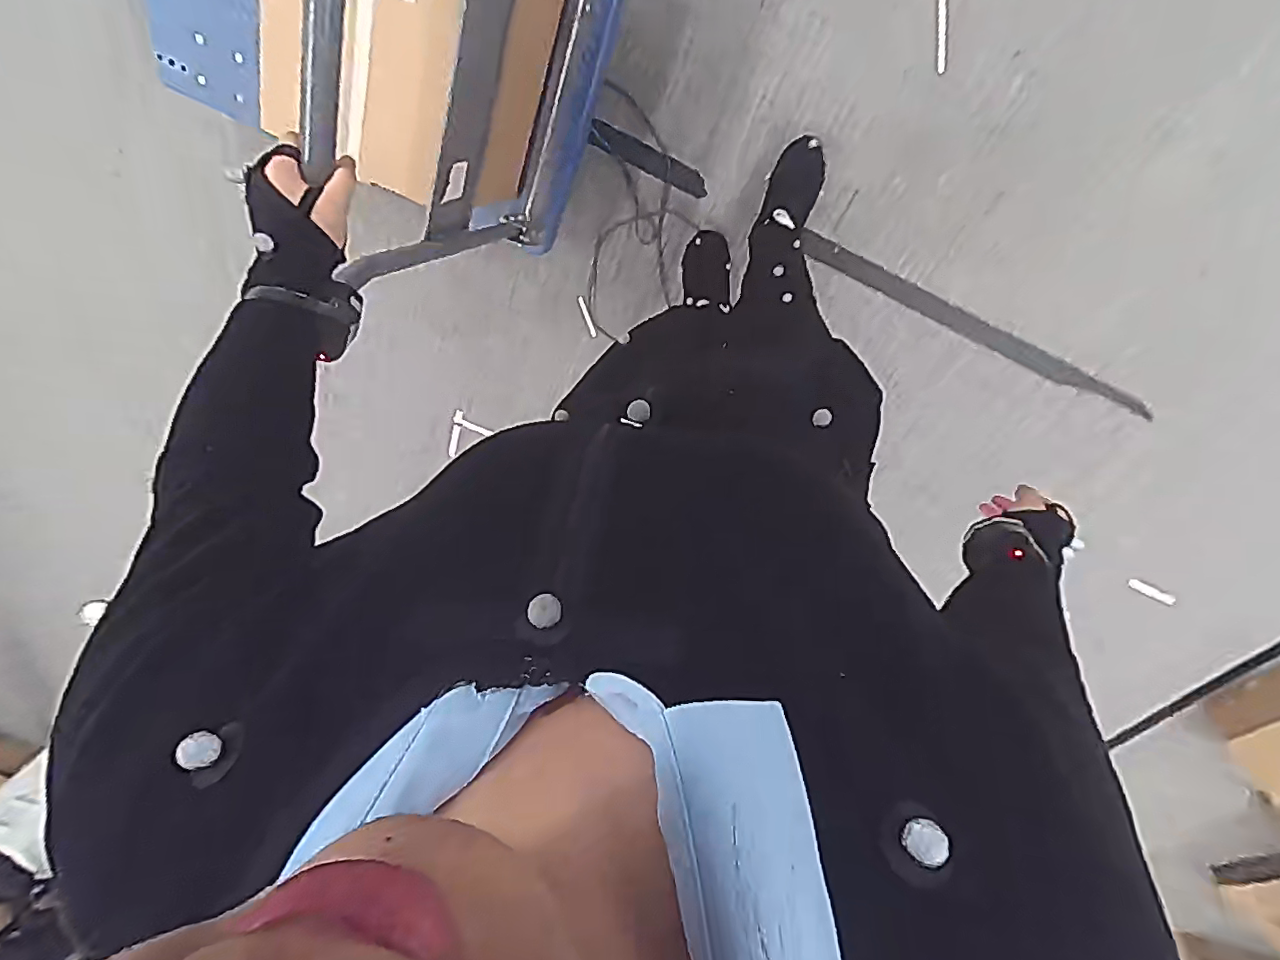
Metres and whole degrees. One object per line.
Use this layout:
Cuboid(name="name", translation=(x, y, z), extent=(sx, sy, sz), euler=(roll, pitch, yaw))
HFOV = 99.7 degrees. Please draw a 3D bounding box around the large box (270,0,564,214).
Cuboid(name="large box", translation=(-0.347, -0.709, 0.882), extent=(0.320, 0.320, 0.408), euler=(24, 122, -4))
